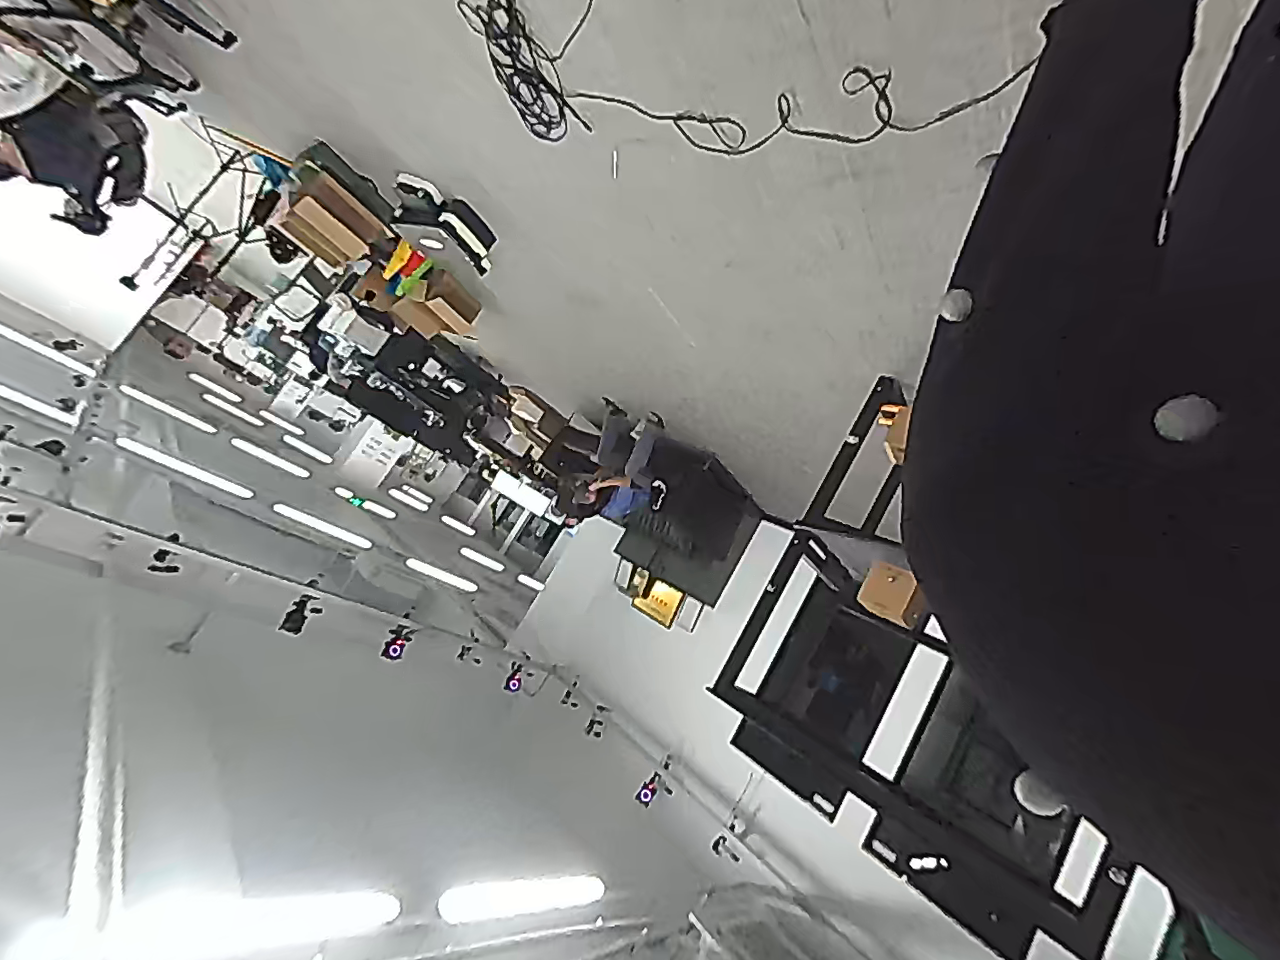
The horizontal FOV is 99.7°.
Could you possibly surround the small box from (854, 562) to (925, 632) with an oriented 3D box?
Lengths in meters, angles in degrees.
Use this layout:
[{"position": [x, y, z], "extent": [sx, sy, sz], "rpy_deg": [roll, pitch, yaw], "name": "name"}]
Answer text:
[{"position": [0.909, 0.422, 1.959], "extent": [0.168, 0.176, 0.179], "rpy_deg": [21, 166, 45], "name": "small box"}]
